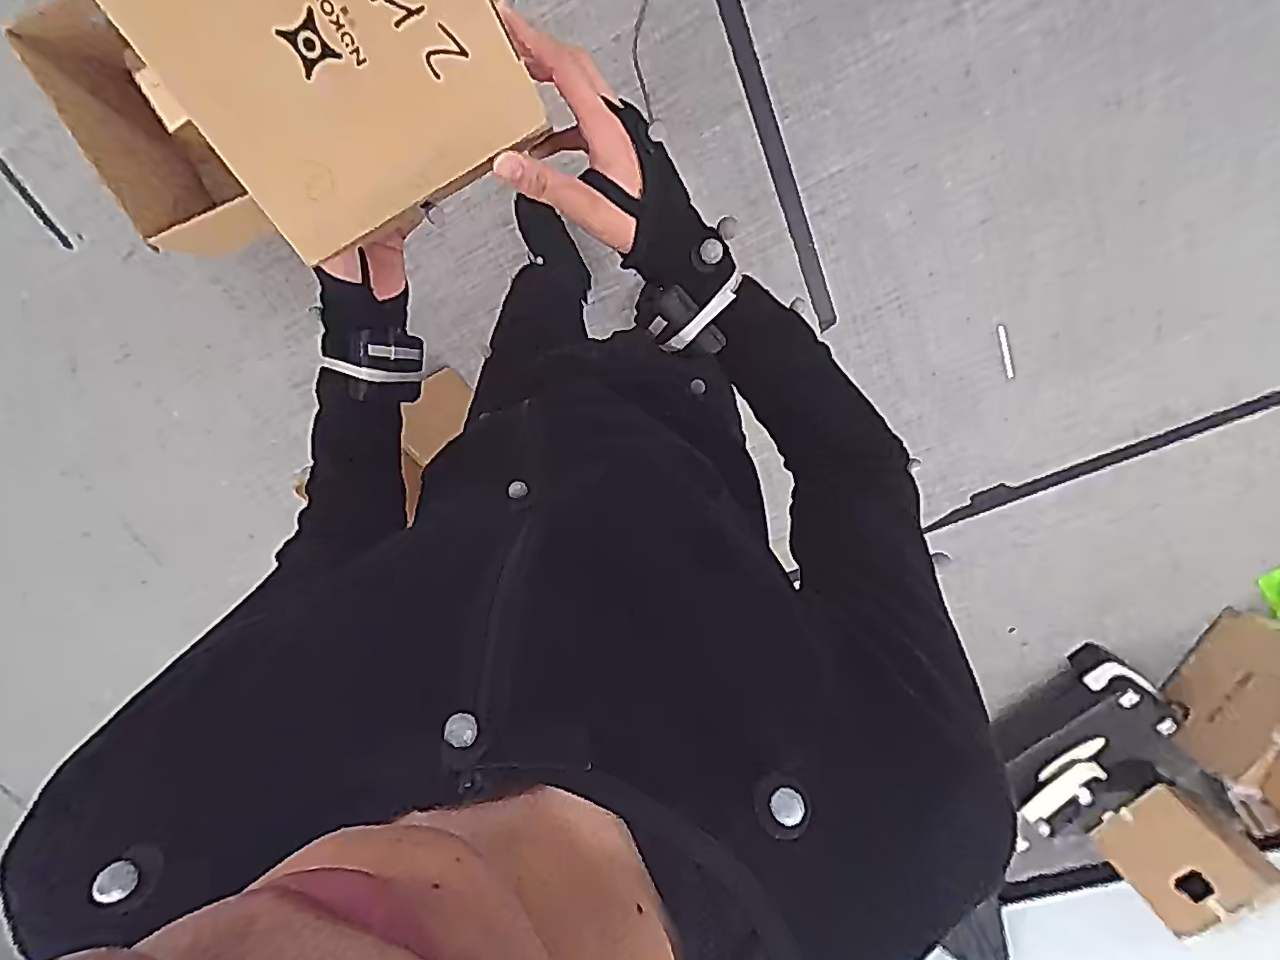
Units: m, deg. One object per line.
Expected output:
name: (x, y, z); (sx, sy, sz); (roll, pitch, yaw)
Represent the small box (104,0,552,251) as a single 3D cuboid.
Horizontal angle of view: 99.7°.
small box: (-0.167, -0.270, 0.338); (0.179, 0.176, 0.168); (-25, 121, 7)
